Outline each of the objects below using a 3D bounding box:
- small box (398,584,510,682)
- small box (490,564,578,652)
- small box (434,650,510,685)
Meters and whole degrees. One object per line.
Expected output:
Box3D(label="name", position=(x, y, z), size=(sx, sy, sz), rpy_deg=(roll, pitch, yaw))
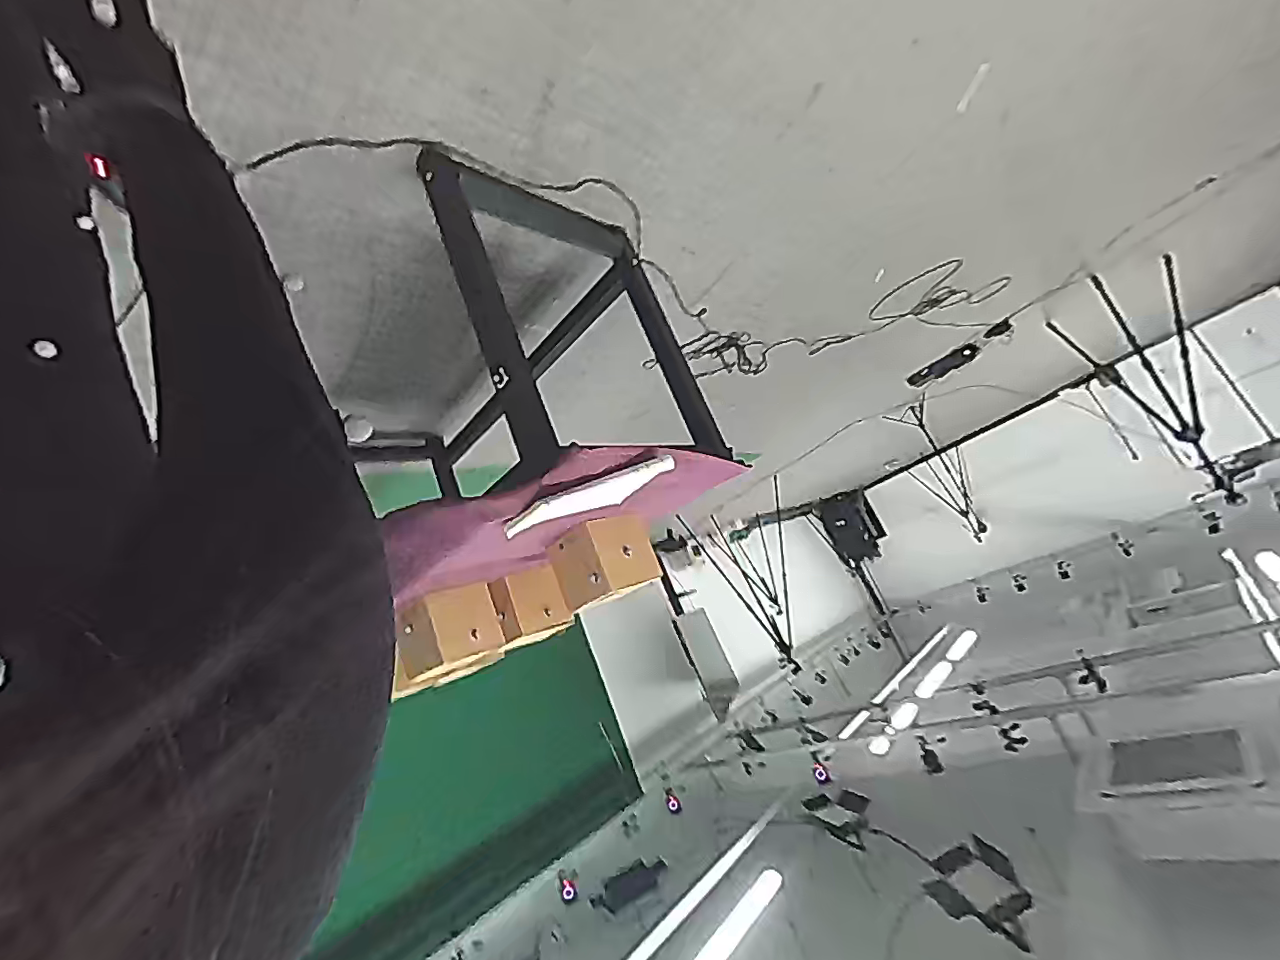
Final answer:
Box3D(label="small box", position=(-0.453, 0.364, 1.315), size=(0.168, 0.176, 0.179), rpy_deg=(-34, 162, 32))
Box3D(label="small box", position=(-0.307, 0.349, 1.490), size=(0.179, 0.176, 0.168), rpy_deg=(-7, 157, -48))
Box3D(label="small box", position=(-0.543, 0.509, 1.677), size=(0.168, 0.176, 0.179), rpy_deg=(-33, 162, 31))
